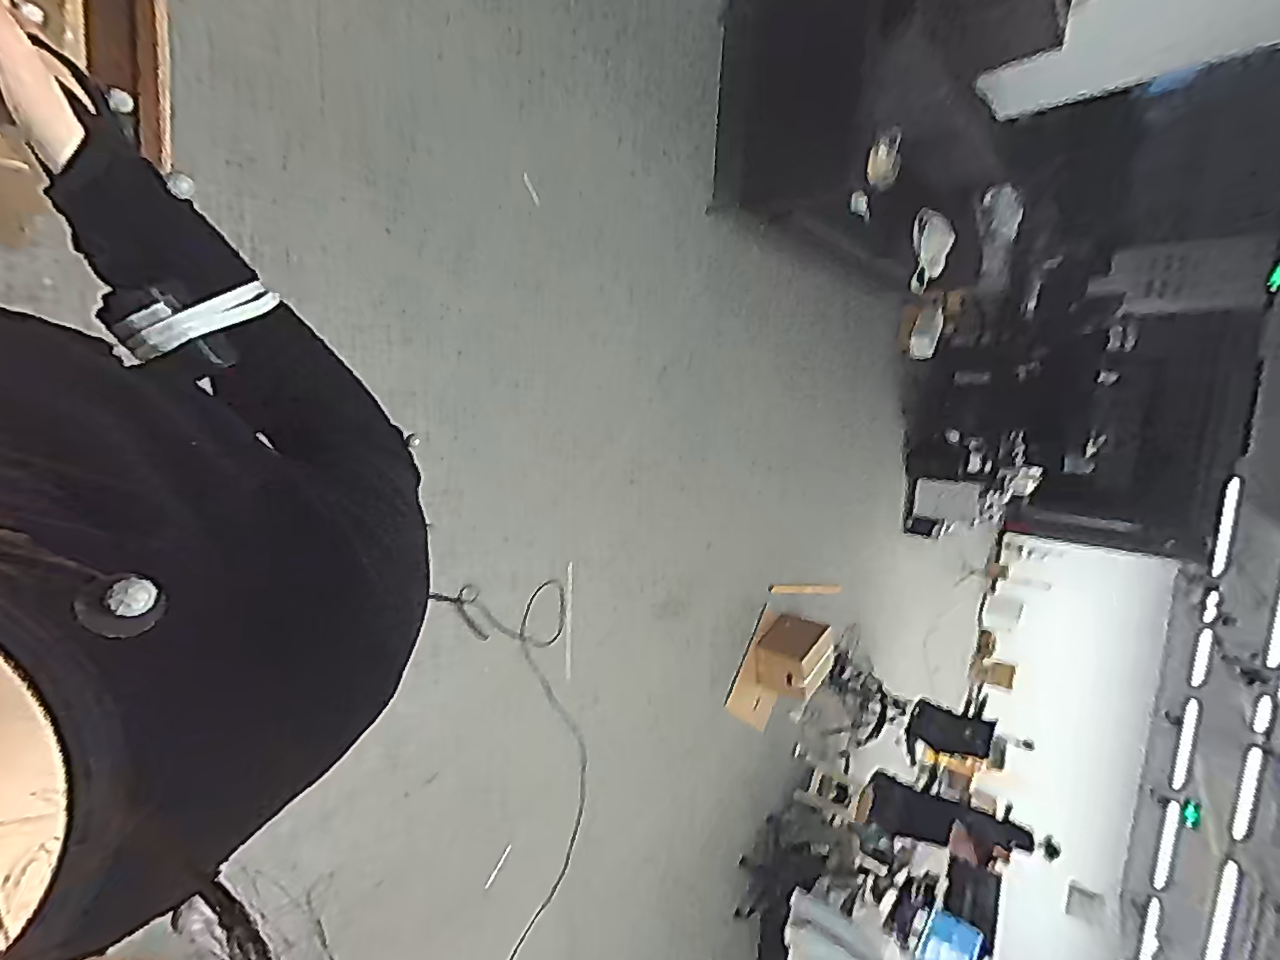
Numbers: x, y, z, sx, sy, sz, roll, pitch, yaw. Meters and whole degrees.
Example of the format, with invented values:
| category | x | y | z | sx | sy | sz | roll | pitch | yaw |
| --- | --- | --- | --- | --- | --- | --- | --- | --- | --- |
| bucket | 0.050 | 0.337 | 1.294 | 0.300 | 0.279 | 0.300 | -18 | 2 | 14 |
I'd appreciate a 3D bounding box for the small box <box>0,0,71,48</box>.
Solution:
| category | x | y | z | sx | sy | sz | roll | pitch | yaw |
| --- | --- | --- | --- | --- | --- | --- | --- | --- | --- |
| small box | -0.605 | -0.530 | 0.462 | 0.168 | 0.176 | 0.179 | 1 | 96 | -48 |
